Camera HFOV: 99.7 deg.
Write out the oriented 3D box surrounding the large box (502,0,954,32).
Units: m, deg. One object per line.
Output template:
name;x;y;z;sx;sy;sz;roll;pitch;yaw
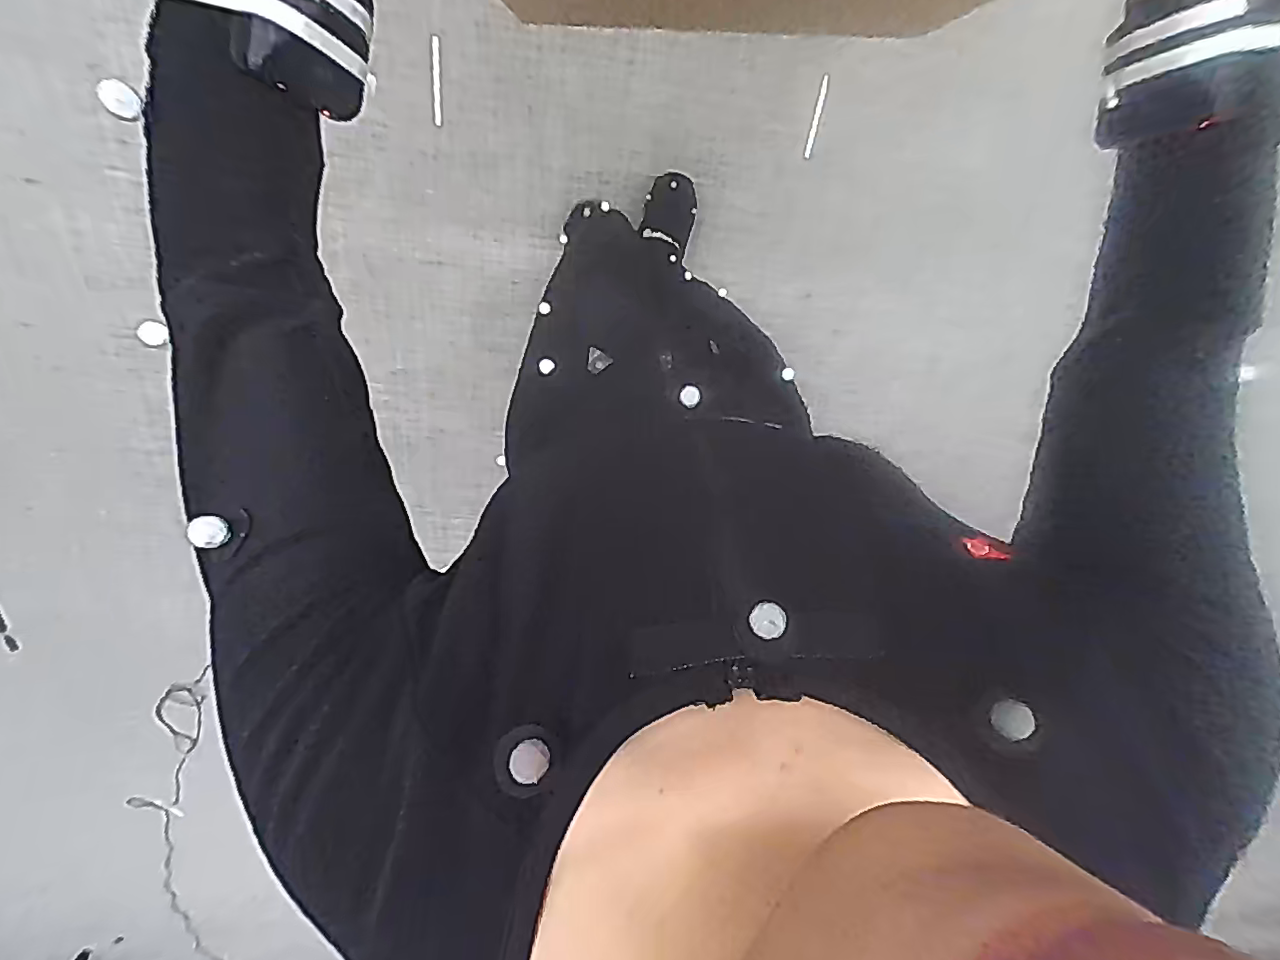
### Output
large box;0.074;-0.513;0.340;0.408;0.320;0.320;1;120;0
